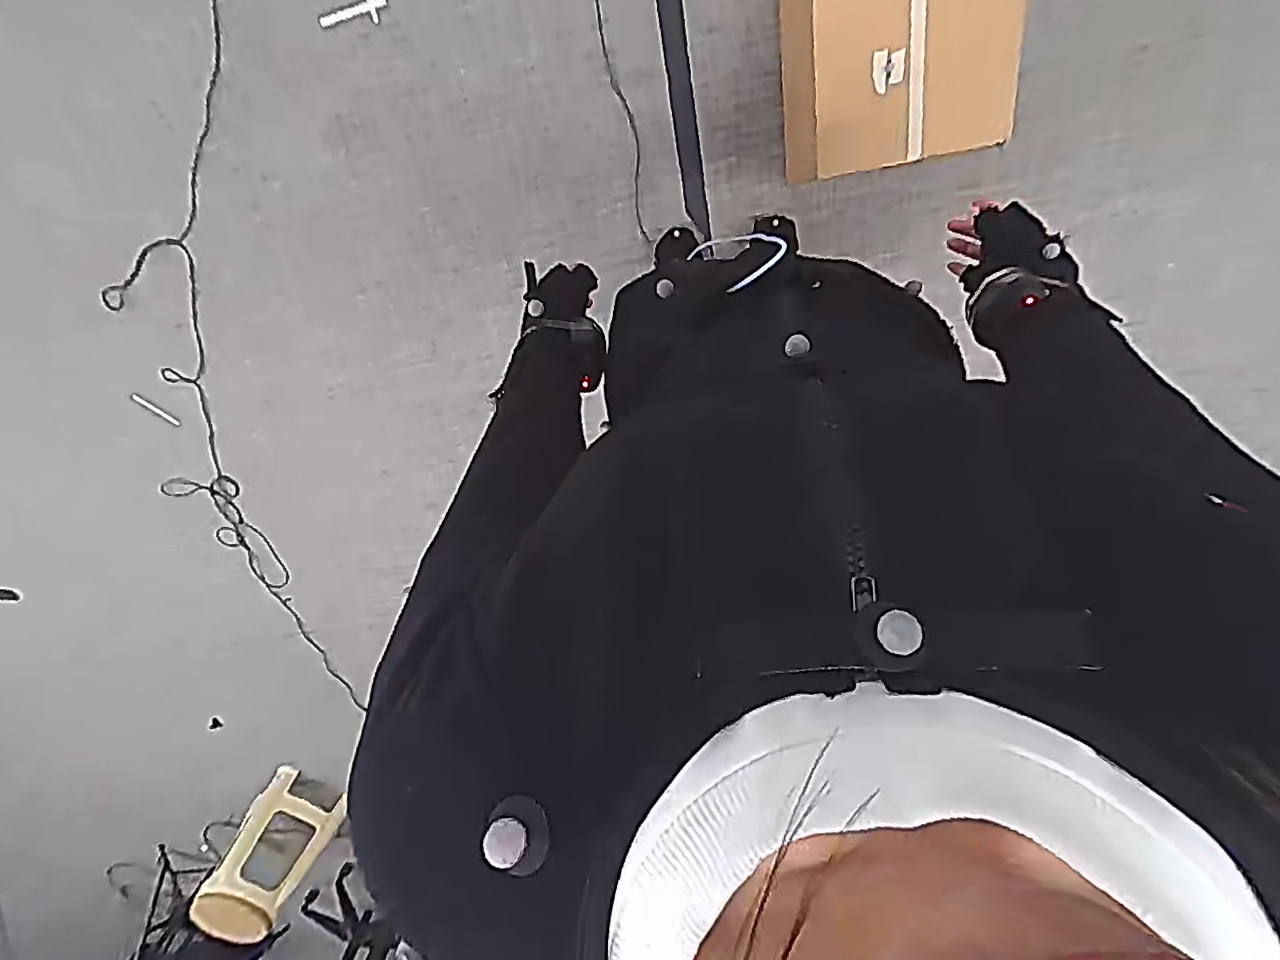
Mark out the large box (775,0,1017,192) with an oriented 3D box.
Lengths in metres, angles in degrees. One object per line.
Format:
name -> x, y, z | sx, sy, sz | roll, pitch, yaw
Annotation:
large box -> 0.434, -0.777, 0.976 | 0.320, 0.320, 0.408 | -7, 116, 9
